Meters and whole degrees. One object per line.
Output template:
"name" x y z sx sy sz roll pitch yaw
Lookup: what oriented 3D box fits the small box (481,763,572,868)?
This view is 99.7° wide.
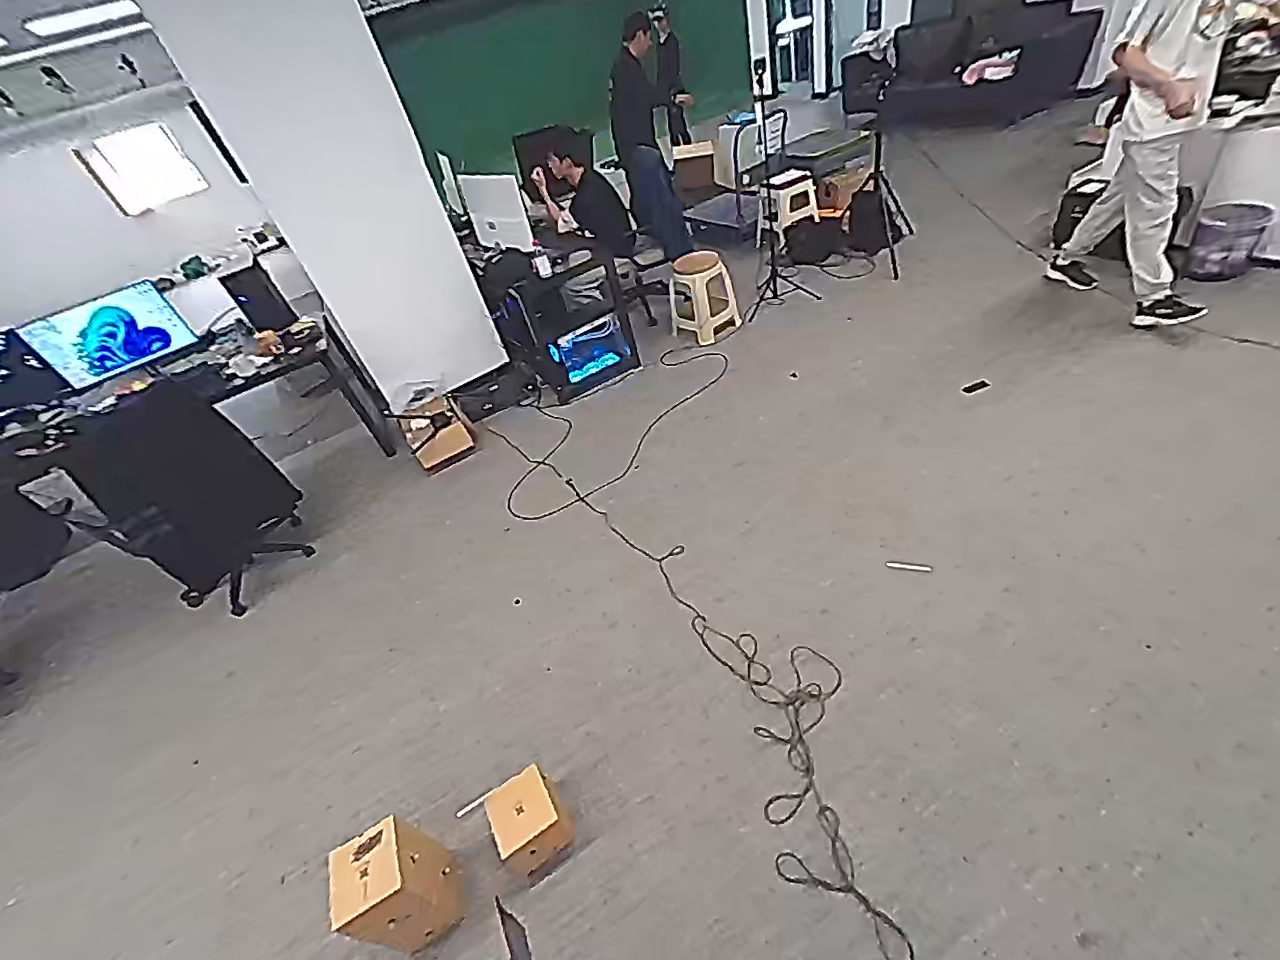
"small box" -0.311 0.937 1.502 0.168 0.176 0.179 -30 41 -15

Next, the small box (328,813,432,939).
"small box" -0.633 0.968 1.321 0.168 0.176 0.179 -28 42 -12
